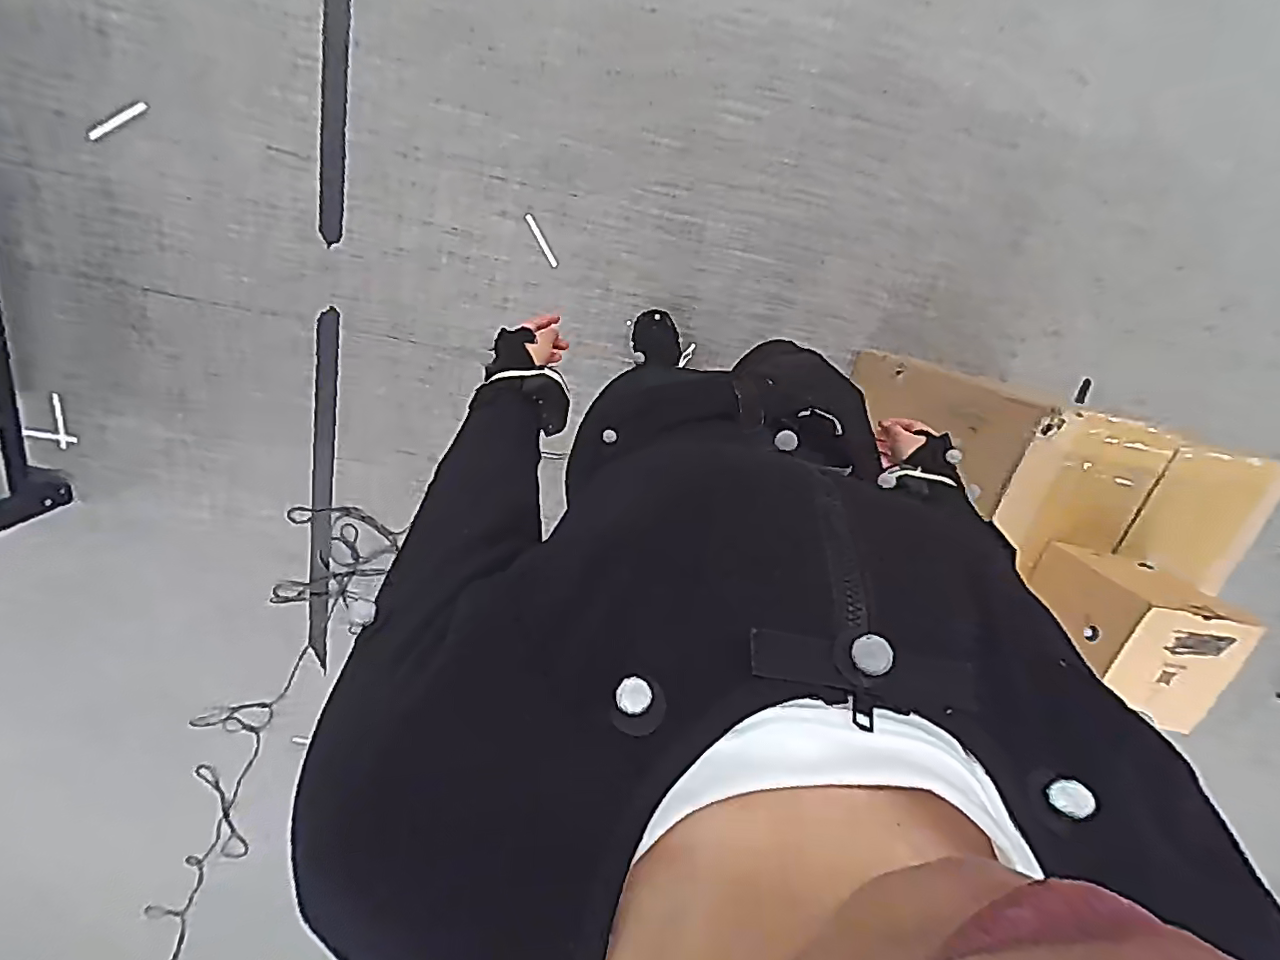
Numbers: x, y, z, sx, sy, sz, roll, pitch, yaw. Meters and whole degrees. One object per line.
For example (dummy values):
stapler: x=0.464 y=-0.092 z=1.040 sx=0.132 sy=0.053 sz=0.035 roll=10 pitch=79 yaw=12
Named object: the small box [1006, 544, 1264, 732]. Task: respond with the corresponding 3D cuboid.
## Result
small box: x=0.663 y=0.210 z=0.754 sx=0.168 sy=0.176 sz=0.179 roll=12 pitch=110 yaw=-6
